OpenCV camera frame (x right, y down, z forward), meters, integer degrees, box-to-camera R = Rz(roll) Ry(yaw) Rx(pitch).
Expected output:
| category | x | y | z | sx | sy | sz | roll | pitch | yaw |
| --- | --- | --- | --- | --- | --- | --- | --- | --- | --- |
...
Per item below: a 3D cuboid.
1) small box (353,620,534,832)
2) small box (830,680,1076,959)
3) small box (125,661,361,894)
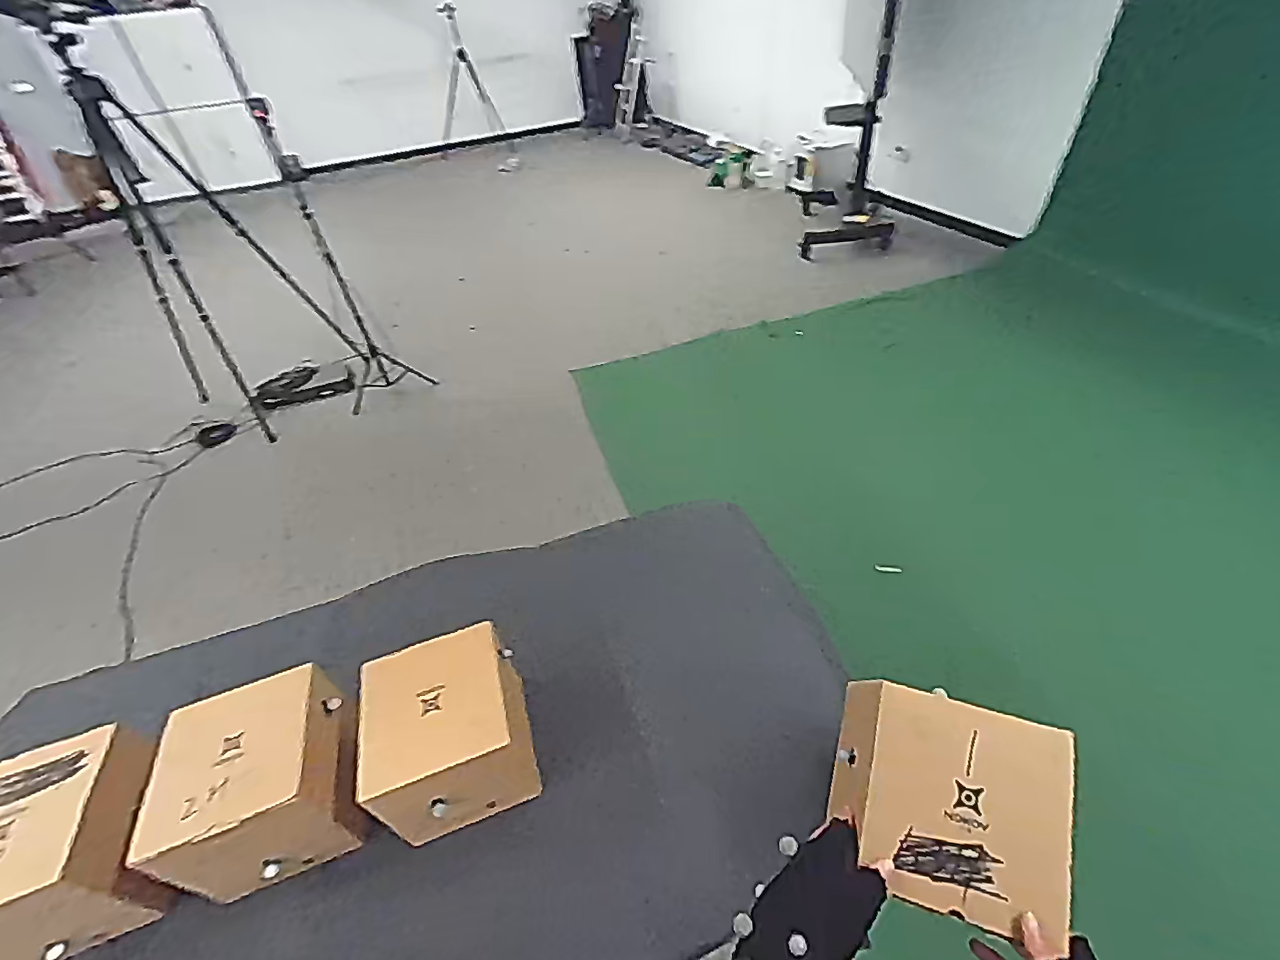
| category | x | y | z | sx | sy | sz | roll | pitch | yaw |
| --- | --- | --- | --- | --- | --- | --- | --- | --- | --- |
| small box | -0.245 | 0.320 | 0.695 | 0.168 | 0.176 | 0.179 | -17 | 42 | -11 |
| small box | 0.299 | 0.318 | 0.549 | 0.168 | 0.176 | 0.179 | 13 | 71 | 14 |
| small box | -0.463 | 0.366 | 0.671 | 0.168 | 0.176 | 0.179 | -18 | 43 | -12 |
